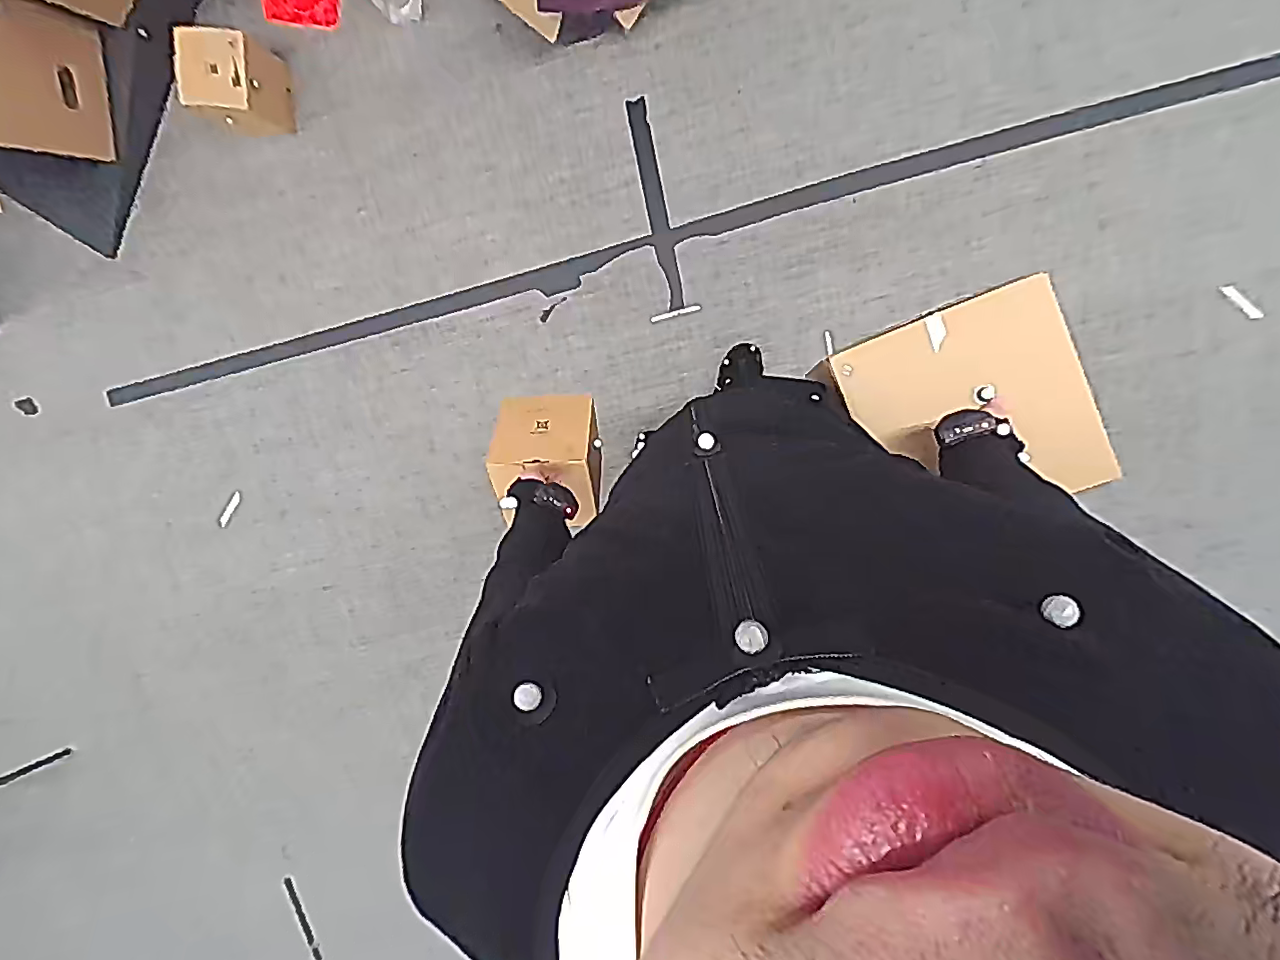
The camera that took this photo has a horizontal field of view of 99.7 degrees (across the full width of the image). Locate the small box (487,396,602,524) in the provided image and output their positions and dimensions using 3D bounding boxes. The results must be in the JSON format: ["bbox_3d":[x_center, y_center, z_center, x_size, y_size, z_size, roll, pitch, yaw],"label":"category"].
[{"bbox_3d":[-0.161,-0.031,0.980,0.168,0.179,0.176,-2,136,2],"label":"small box"}]
